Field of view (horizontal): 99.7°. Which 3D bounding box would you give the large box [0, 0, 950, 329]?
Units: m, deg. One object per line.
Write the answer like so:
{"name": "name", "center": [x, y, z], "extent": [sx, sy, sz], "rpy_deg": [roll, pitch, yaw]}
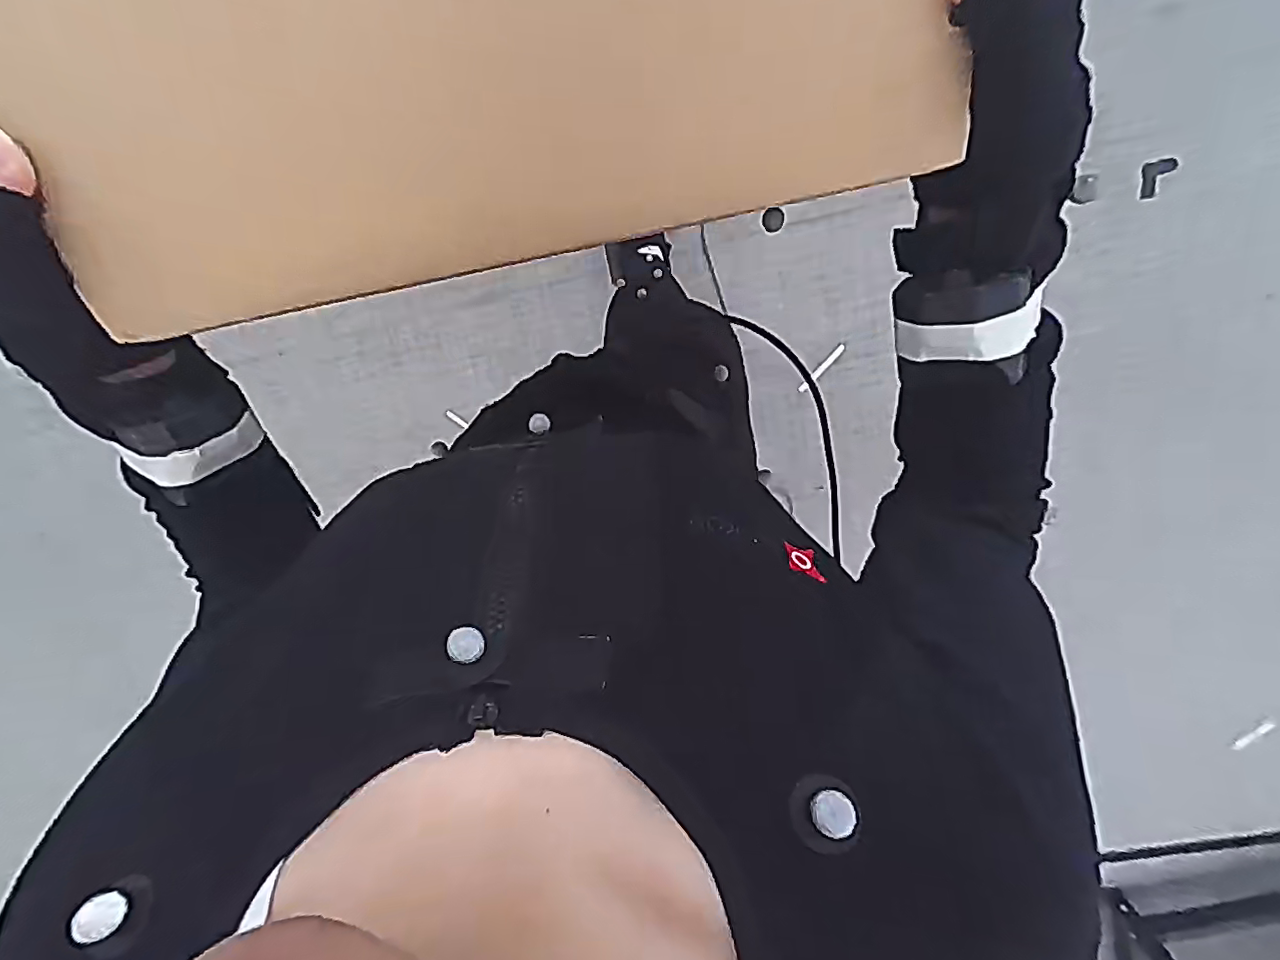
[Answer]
{"name": "large box", "center": [-0.091, -0.317, 0.313], "extent": [0.408, 0.320, 0.320], "rpy_deg": [-11, 118, 5]}
